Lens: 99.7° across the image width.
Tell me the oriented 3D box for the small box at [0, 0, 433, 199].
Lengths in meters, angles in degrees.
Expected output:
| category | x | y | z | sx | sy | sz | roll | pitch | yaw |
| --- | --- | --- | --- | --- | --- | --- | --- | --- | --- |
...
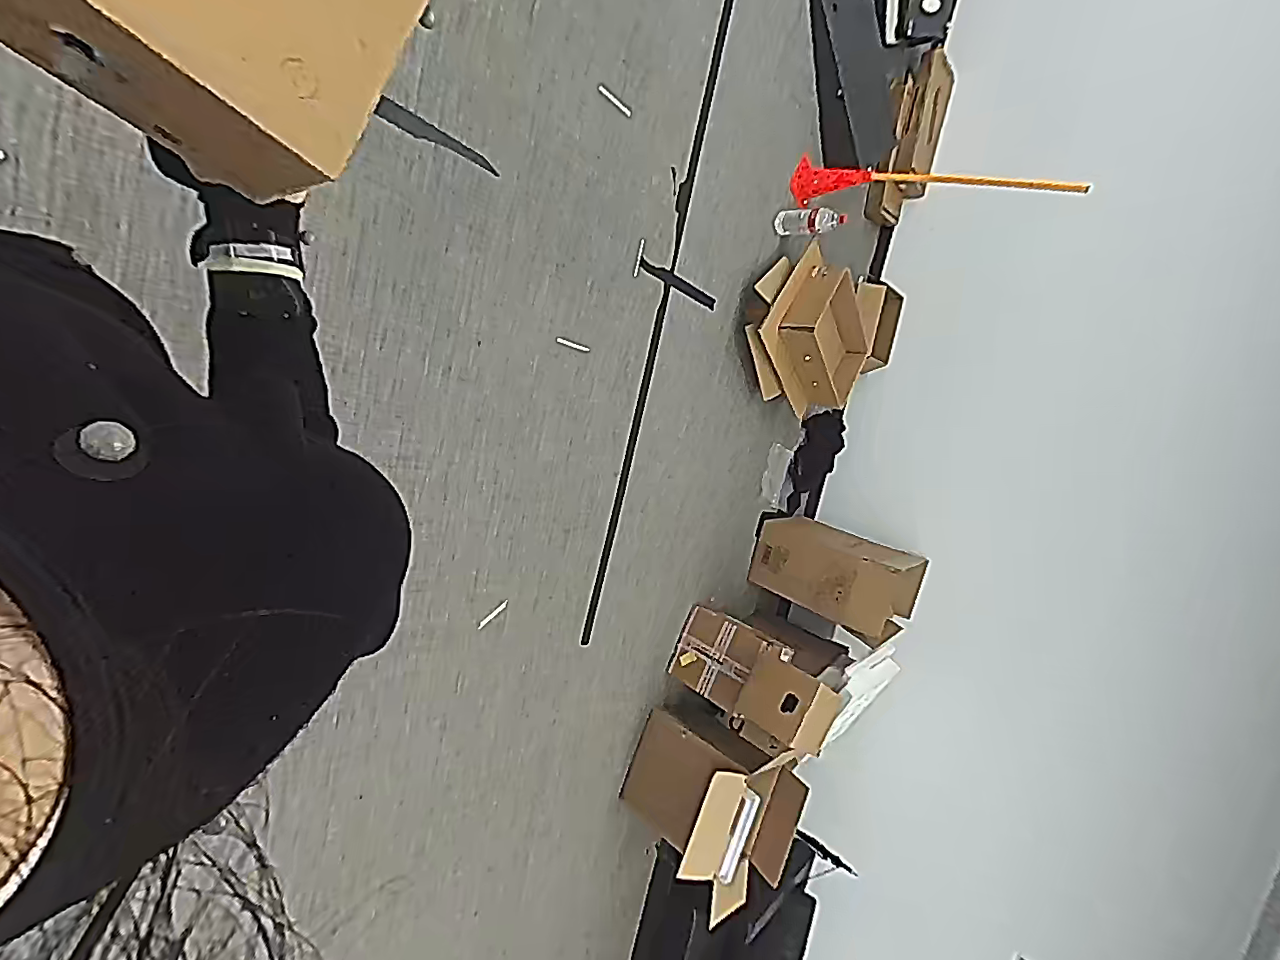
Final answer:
| category | x | y | z | sx | sy | sz | roll | pitch | yaw |
| --- | --- | --- | --- | --- | --- | --- | --- | --- | --- |
| small box | -0.242 | -0.291 | 0.306 | 0.168 | 0.176 | 0.179 | 28 | 82 | -49 |
